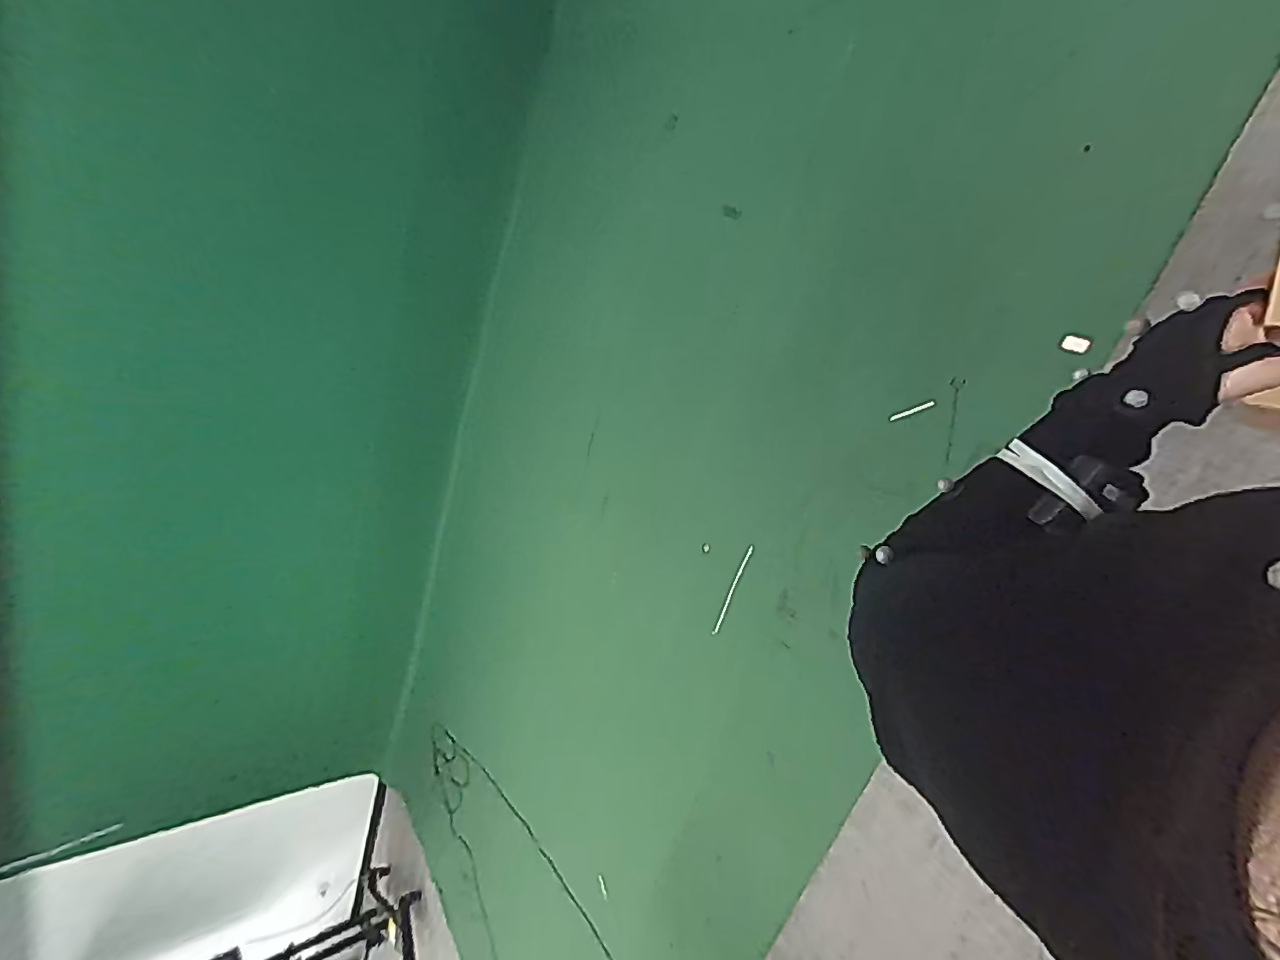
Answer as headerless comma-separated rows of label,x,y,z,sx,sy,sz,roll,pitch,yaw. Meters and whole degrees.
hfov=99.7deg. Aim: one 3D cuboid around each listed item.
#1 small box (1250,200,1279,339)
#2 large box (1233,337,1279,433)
small box,0.526,-0.177,0.332,0.179,0.176,0.168,15,106,48
large box,1.193,-0.242,0.794,0.320,0.320,0.408,34,112,44
